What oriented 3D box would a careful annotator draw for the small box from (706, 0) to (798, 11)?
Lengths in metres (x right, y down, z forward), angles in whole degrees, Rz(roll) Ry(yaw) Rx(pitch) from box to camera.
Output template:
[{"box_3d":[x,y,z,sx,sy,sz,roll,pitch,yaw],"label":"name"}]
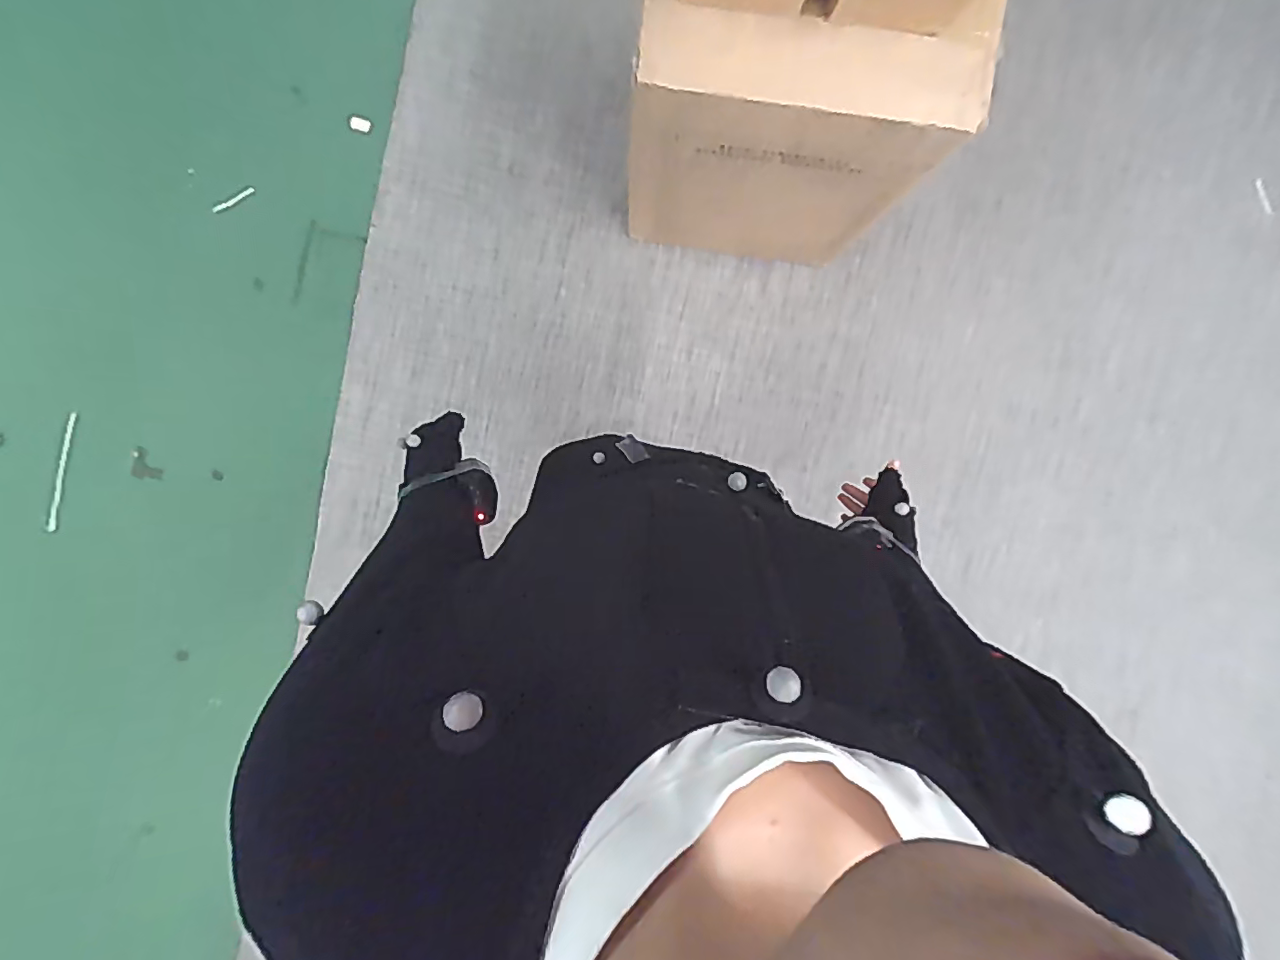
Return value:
[{"box_3d":[0.150,-0.751,0.690,0.179,0.176,0.168,5,98,-3],"label":"small box"}]
